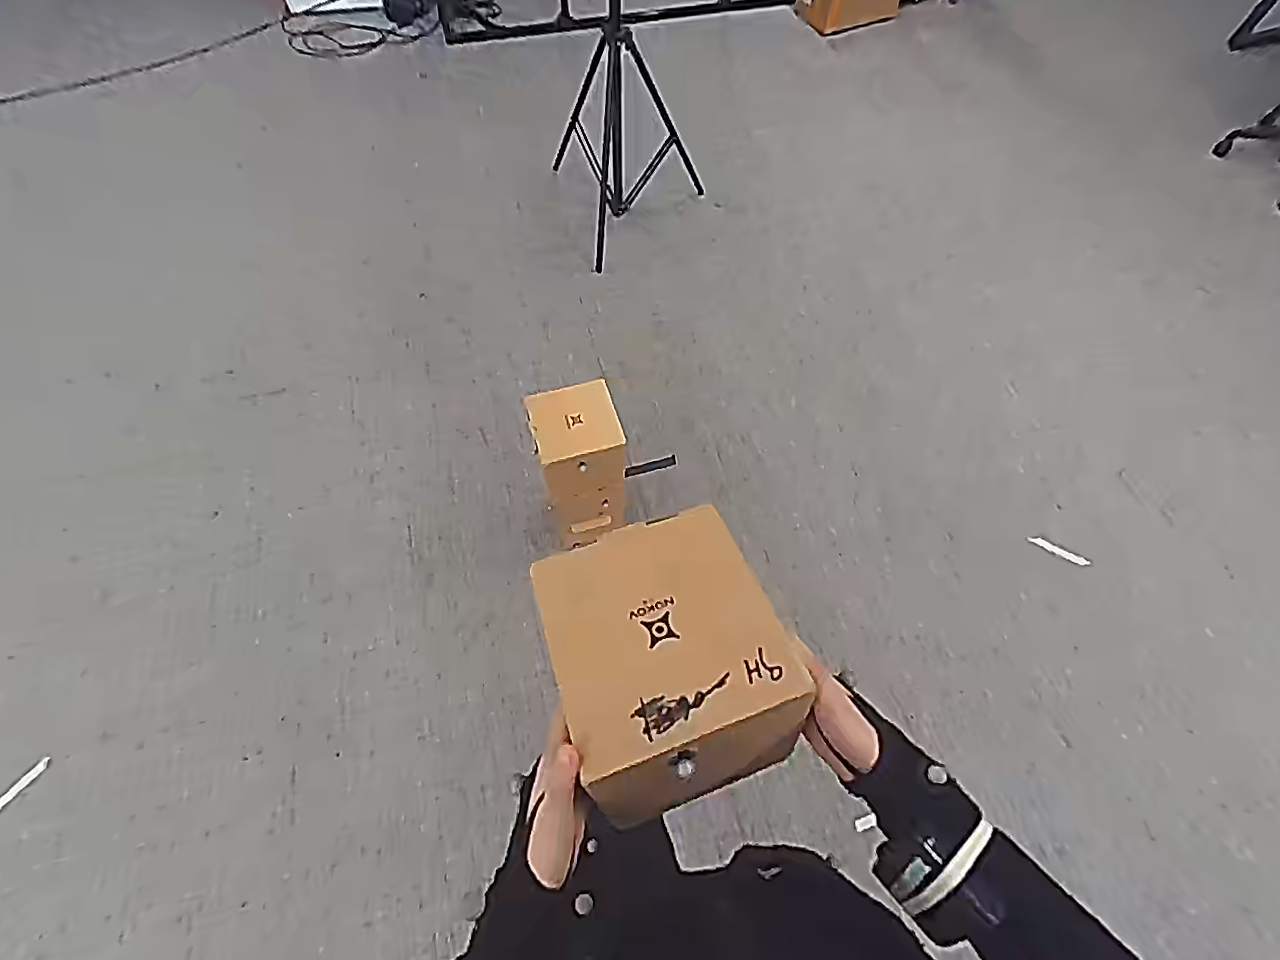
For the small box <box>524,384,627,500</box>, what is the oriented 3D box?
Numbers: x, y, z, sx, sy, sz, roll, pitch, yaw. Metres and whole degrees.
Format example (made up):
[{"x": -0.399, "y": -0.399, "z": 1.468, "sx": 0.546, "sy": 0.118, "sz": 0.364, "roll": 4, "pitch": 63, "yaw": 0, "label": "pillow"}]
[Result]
[{"x": -0.136, "y": -0.077, "z": 1.160, "sx": 0.179, "sy": 0.176, "sz": 0.168, "roll": -16, "pitch": 66, "yaw": -10, "label": "small box"}]

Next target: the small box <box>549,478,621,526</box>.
[{"x": -0.144, "y": -0.002, "z": 1.305, "sx": 0.168, "sy": 0.176, "sz": 0.179, "roll": -15, "pitch": 64, "yaw": -10, "label": "small box"}]

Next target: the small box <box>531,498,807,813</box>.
[{"x": 0.017, "y": 0.150, "z": 0.466, "sx": 0.168, "sy": 0.176, "sz": 0.179, "roll": -18, "pitch": 49, "yaw": -8, "label": "small box"}]

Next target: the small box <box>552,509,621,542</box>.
[{"x": -0.149, "y": 0.071, "z": 1.449, "sx": 0.168, "sy": 0.176, "sz": 0.179, "roll": -15, "pitch": 64, "yaw": -9, "label": "small box"}]
